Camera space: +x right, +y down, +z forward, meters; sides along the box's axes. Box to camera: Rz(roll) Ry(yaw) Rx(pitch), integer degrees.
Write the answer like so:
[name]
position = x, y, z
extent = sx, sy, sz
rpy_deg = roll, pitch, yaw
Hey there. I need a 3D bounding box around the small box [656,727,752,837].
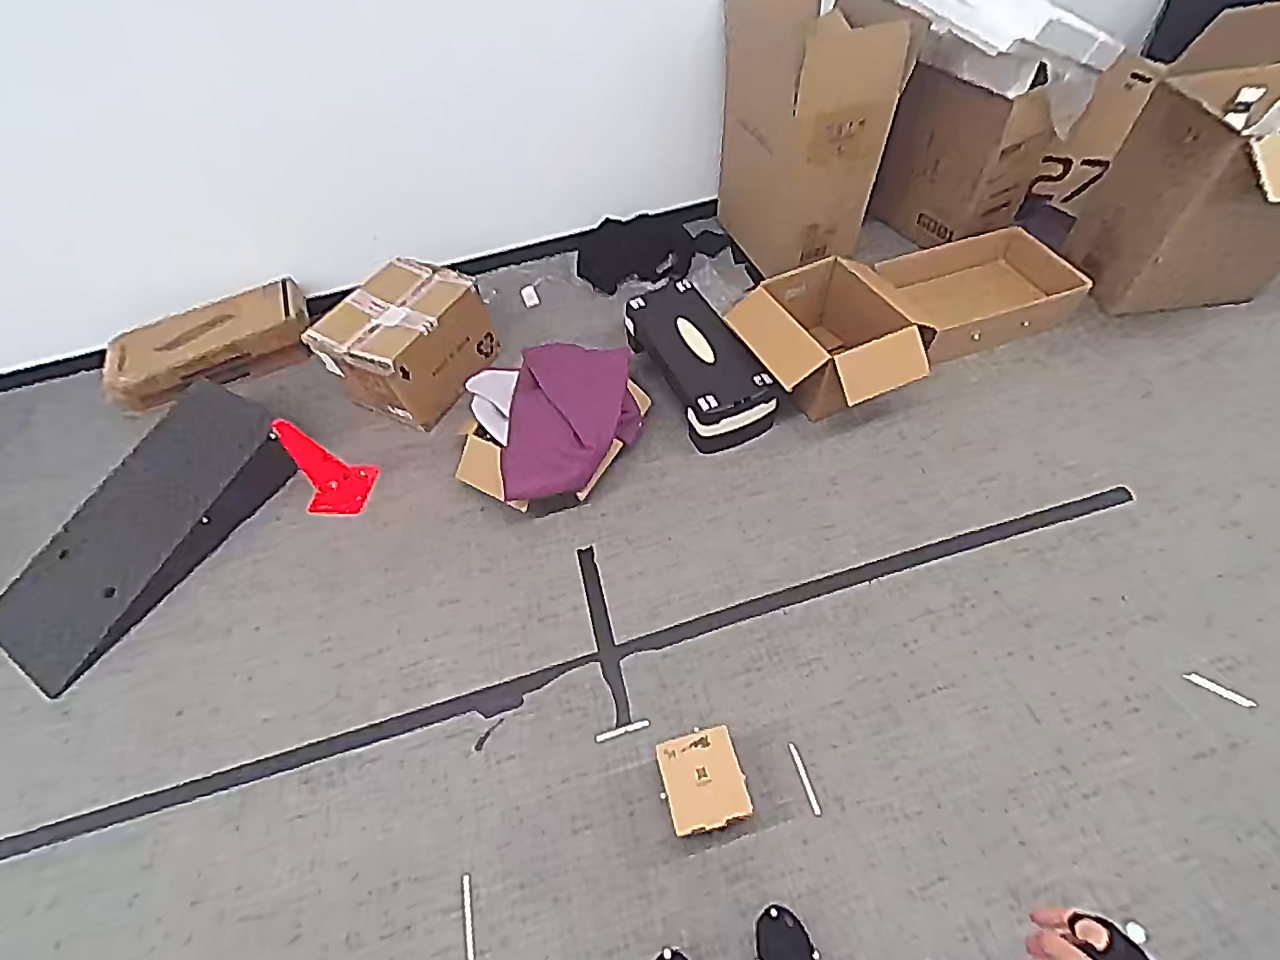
[small box]
position = 0.140, 0.674, 1.206
extent = 0.168, 0.176, 0.179
rpy_deg = -14, 56, -4
